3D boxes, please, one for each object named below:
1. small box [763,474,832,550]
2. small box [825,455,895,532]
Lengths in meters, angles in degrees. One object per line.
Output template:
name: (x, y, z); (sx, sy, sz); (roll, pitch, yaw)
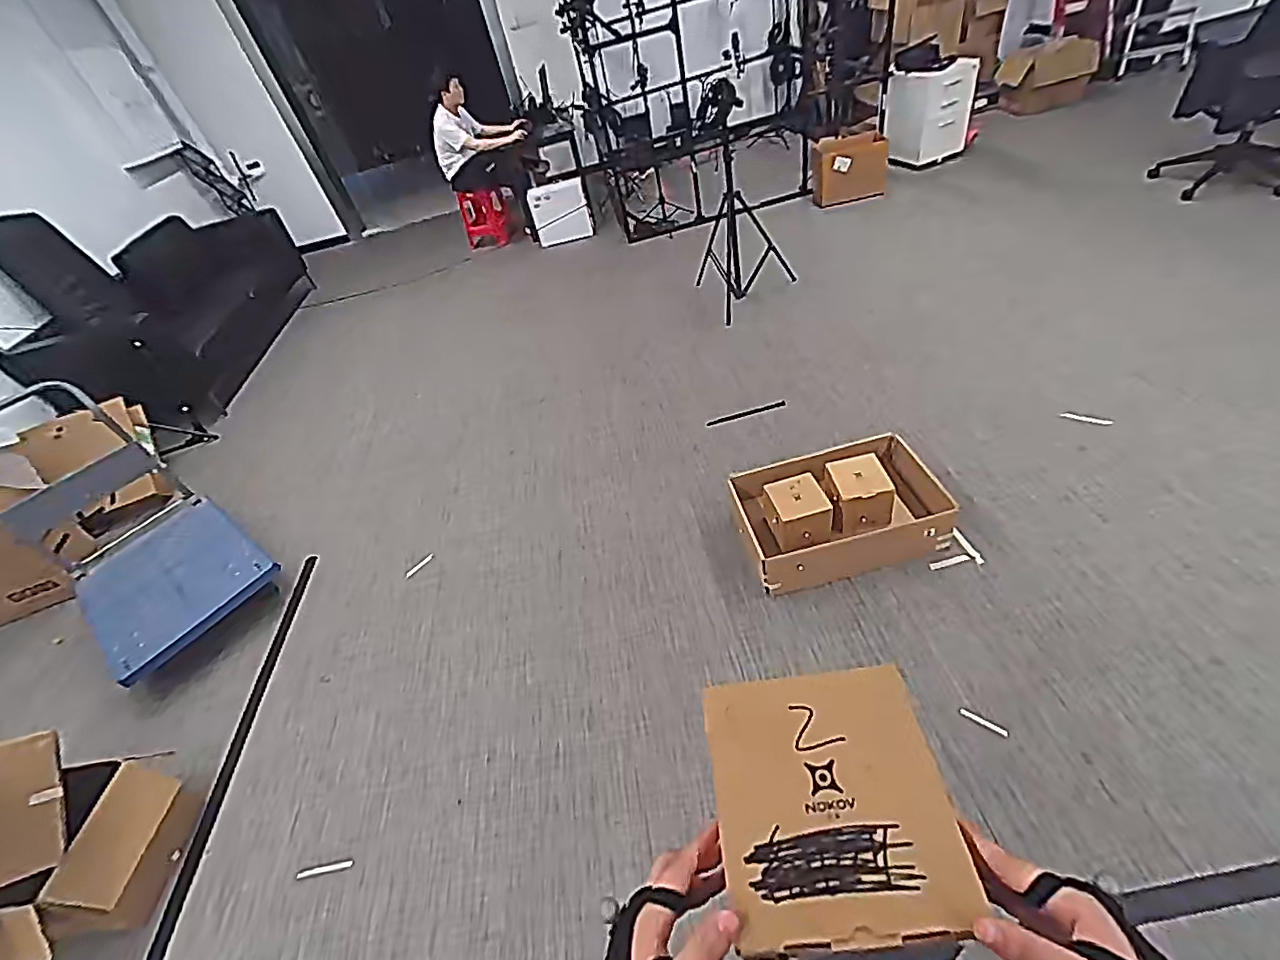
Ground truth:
small box: (0.520, 0.114, 1.795); (0.168, 0.176, 0.179); (-15, 42, -1)
small box: (0.727, 0.046, 1.808); (0.168, 0.176, 0.179); (-12, 43, 5)
